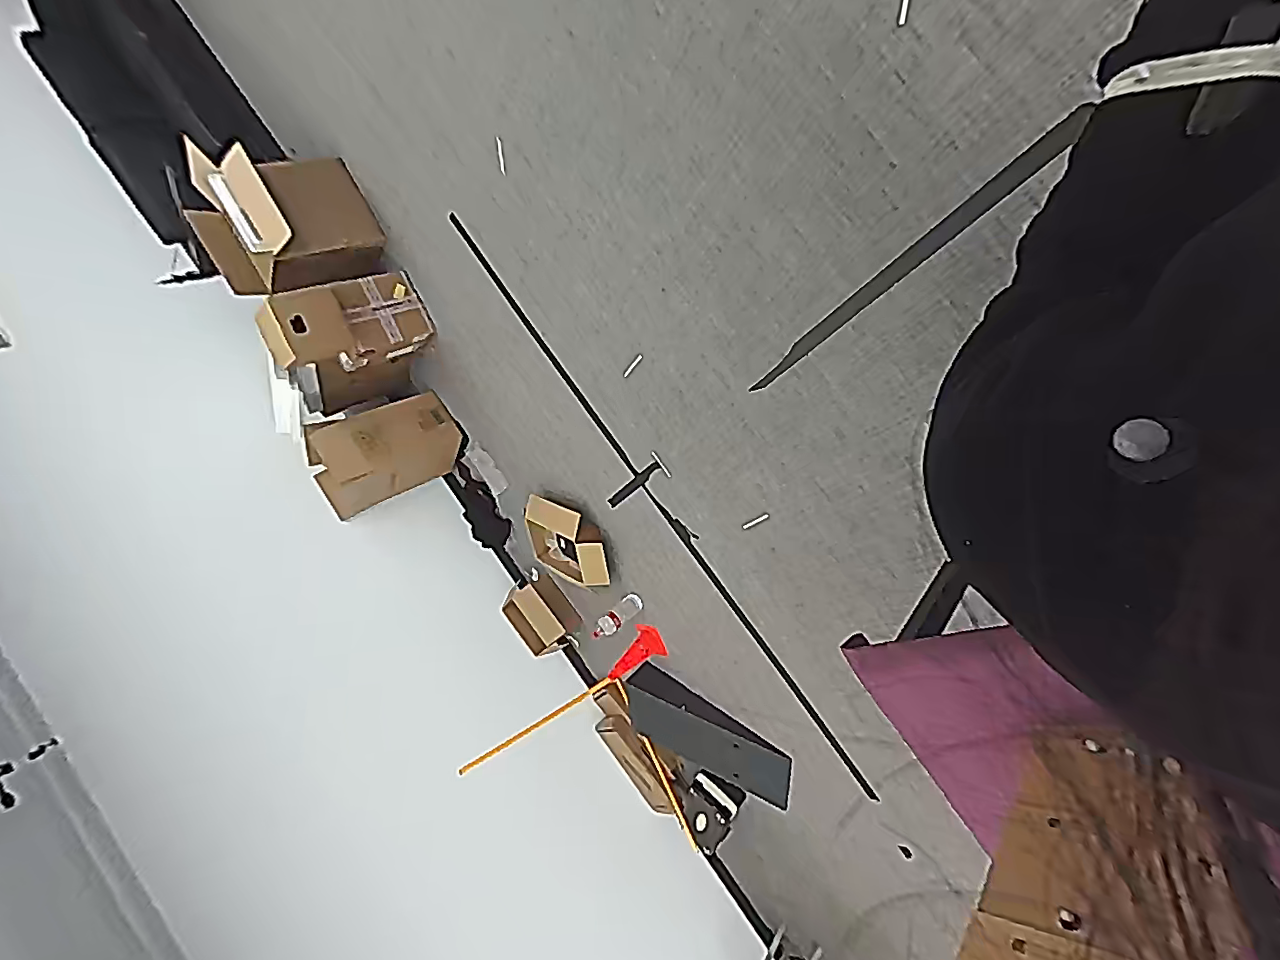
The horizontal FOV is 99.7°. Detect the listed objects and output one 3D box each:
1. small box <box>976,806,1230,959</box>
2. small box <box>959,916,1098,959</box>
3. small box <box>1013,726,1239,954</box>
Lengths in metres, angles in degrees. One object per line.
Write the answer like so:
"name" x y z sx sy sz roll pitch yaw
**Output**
"small box" 0.547 0.535 0.639 0.179 0.176 0.168 57 143 -1
"small box" 0.432 0.600 0.544 0.179 0.176 0.168 57 143 0
"small box" 0.661 0.467 0.735 0.179 0.176 0.168 57 143 2
